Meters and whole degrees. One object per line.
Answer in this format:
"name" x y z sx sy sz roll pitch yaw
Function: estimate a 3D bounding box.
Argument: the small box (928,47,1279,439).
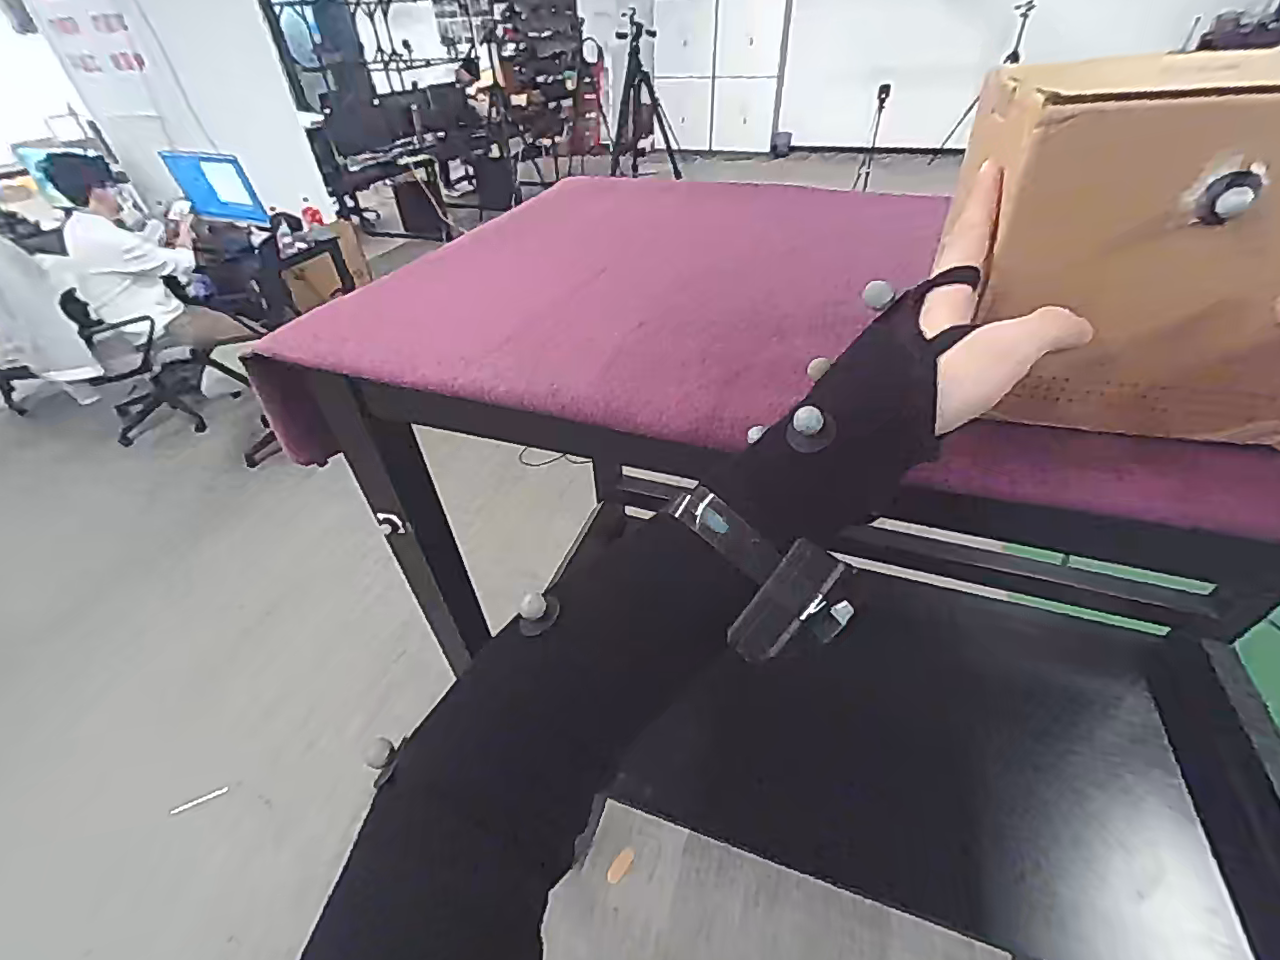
"small box" 0.284 -0.141 0.321 0.179 0.176 0.168 9 42 16
